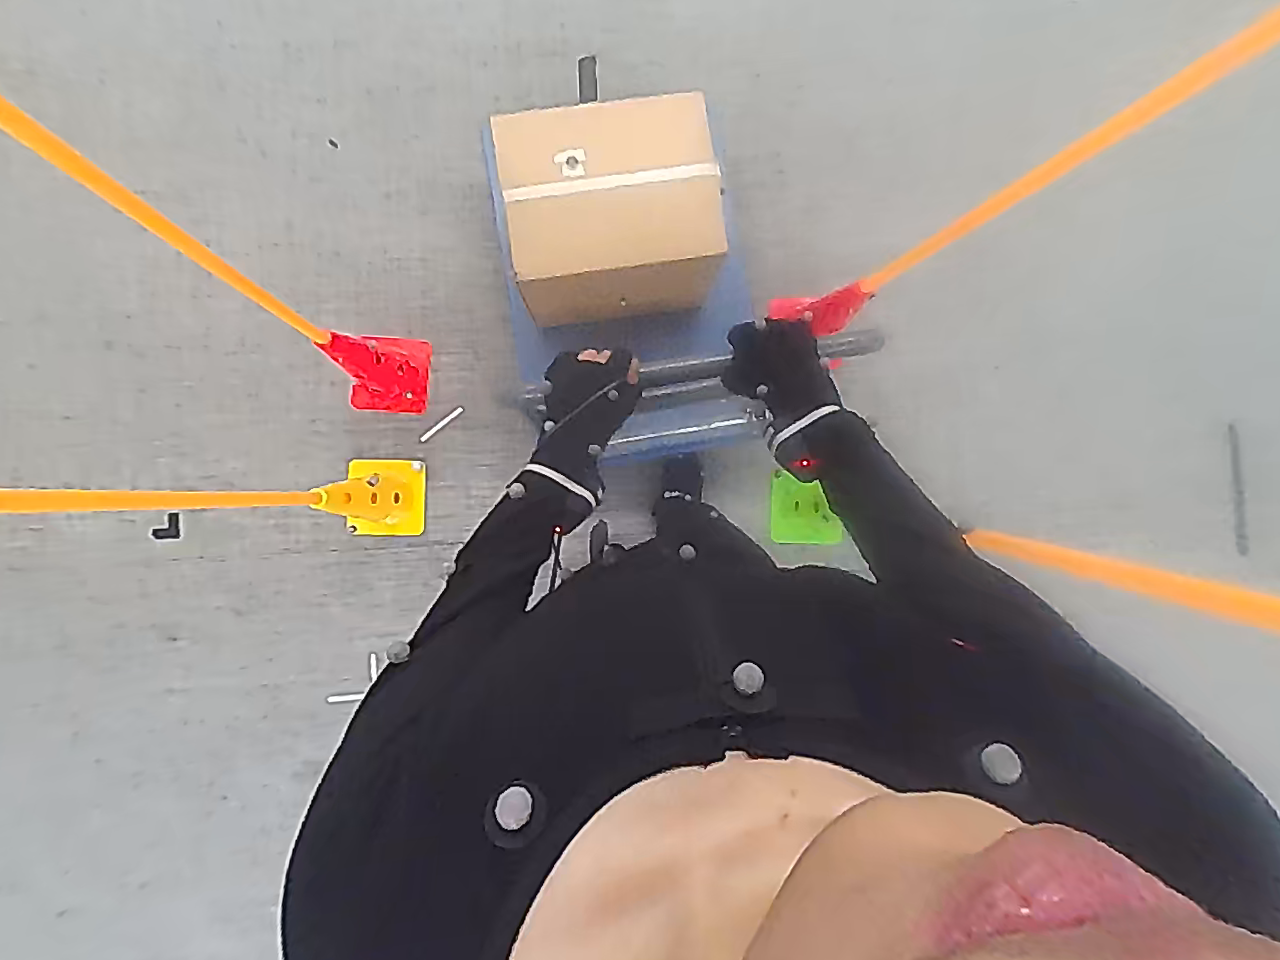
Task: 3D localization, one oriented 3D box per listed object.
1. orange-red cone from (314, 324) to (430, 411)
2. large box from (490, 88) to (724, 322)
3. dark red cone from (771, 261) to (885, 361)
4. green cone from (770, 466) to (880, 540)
[{"bbox_3d":[-0.655,-0.295,1.266,0.198,0.360,0.199,5,87,-4],"label":"orange-red cone"},{"bbox_3d":[-0.065,-0.556,1.157,0.408,0.320,0.320,-9,90,-2],"label":"large box"},{"bbox_3d":[0.471,-0.426,1.309,0.201,0.394,0.202,-2,89,-5],"label":"dark red cone"},{"bbox_3d":[0.469,0.060,1.315,0.202,0.368,0.200,2,89,-4],"label":"green cone"}]
